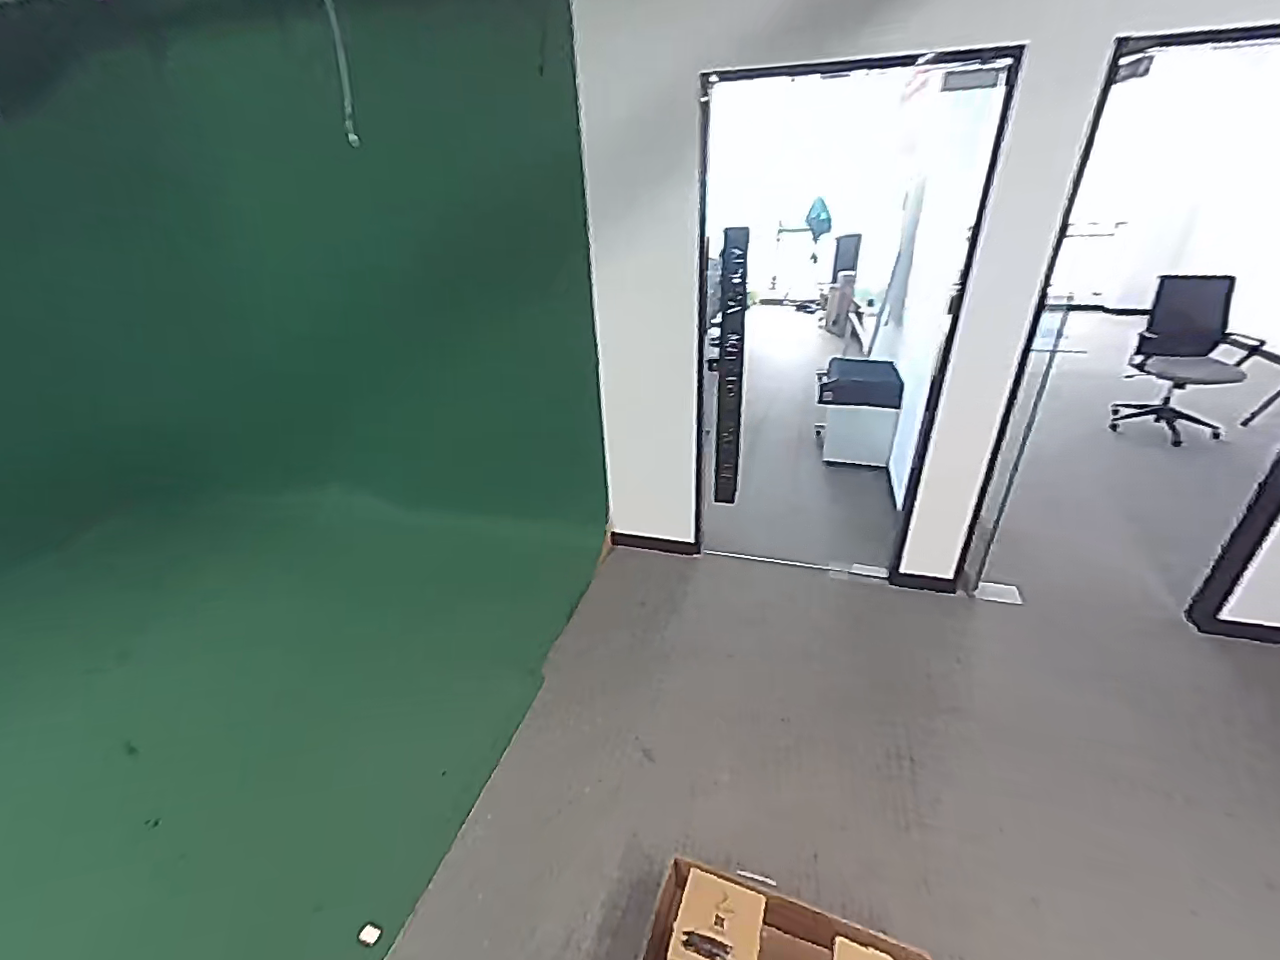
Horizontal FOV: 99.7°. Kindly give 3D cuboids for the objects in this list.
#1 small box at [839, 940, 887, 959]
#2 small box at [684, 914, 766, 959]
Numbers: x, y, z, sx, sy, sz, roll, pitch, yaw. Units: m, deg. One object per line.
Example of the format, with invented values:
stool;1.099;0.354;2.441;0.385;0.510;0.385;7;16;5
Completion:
small box;0.441;1.028;1.004;0.168;0.176;0.179;10;30;23
small box;0.174;1.126;1.190;0.168;0.176;0.179;9;29;20
